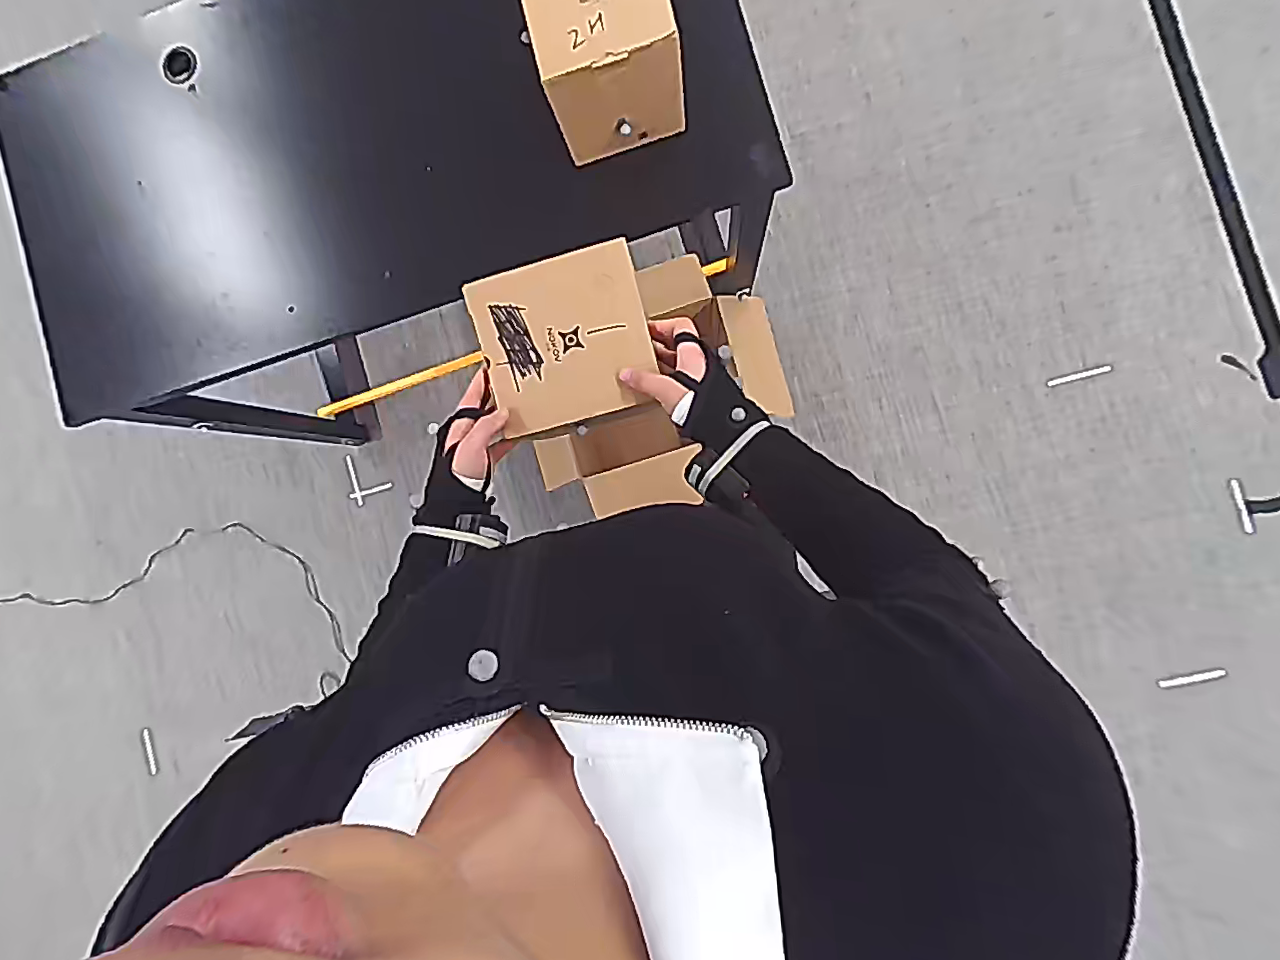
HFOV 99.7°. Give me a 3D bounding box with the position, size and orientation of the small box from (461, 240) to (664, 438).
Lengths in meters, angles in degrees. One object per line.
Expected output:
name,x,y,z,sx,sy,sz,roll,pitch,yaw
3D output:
small box,-0.075,-0.146,0.626,0.179,0.176,0.168,-14,94,5

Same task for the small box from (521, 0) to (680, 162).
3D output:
small box,-0.048,-0.561,0.698,0.168,0.176,0.179,-14,88,7
